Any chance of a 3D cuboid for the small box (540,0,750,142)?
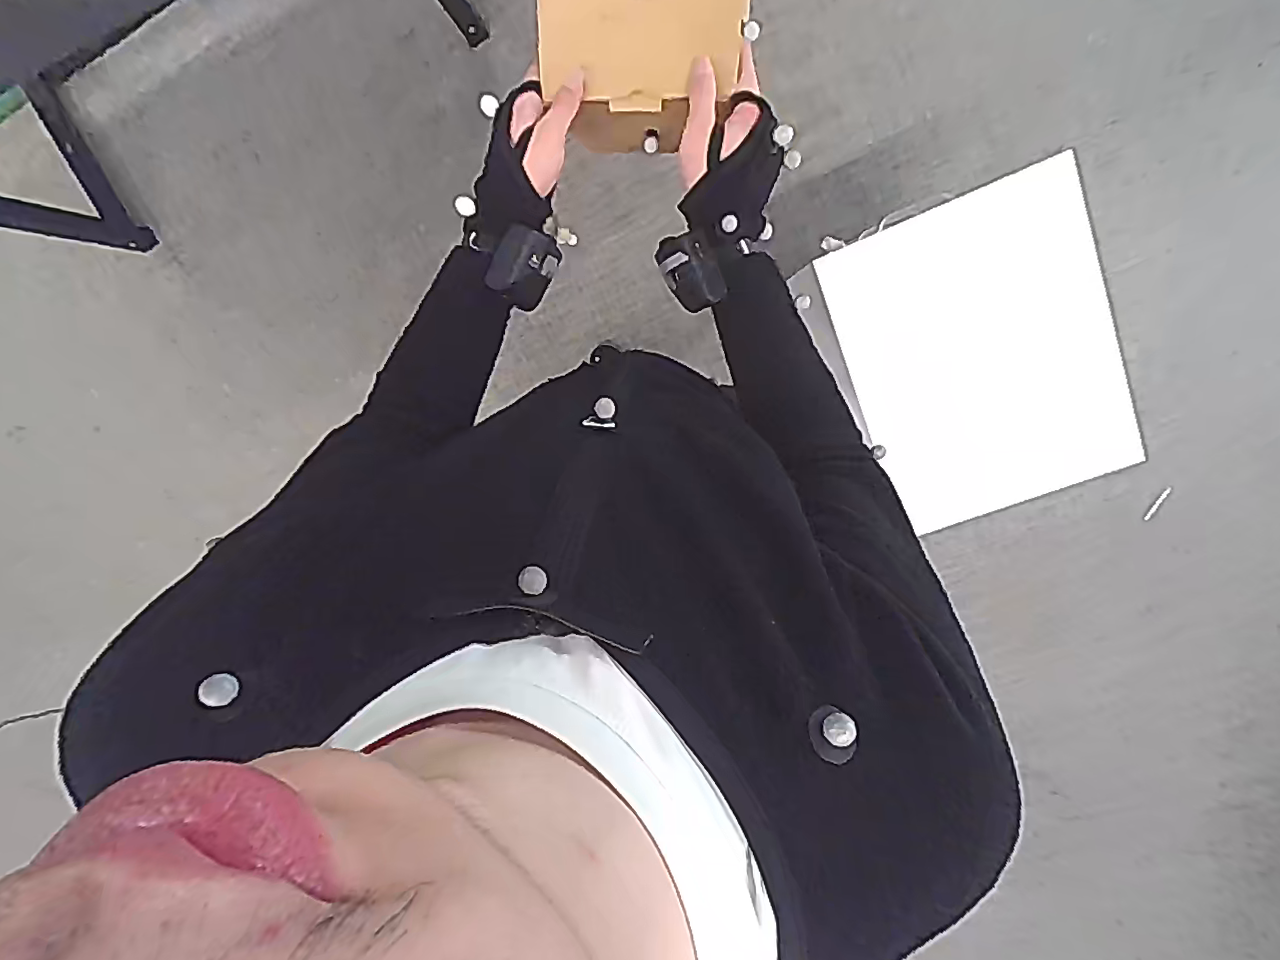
[{"bbox_3d":[0.015,-0.426,0.494,0.168,0.176,0.179,3,109,10],"label":"small box"}]
